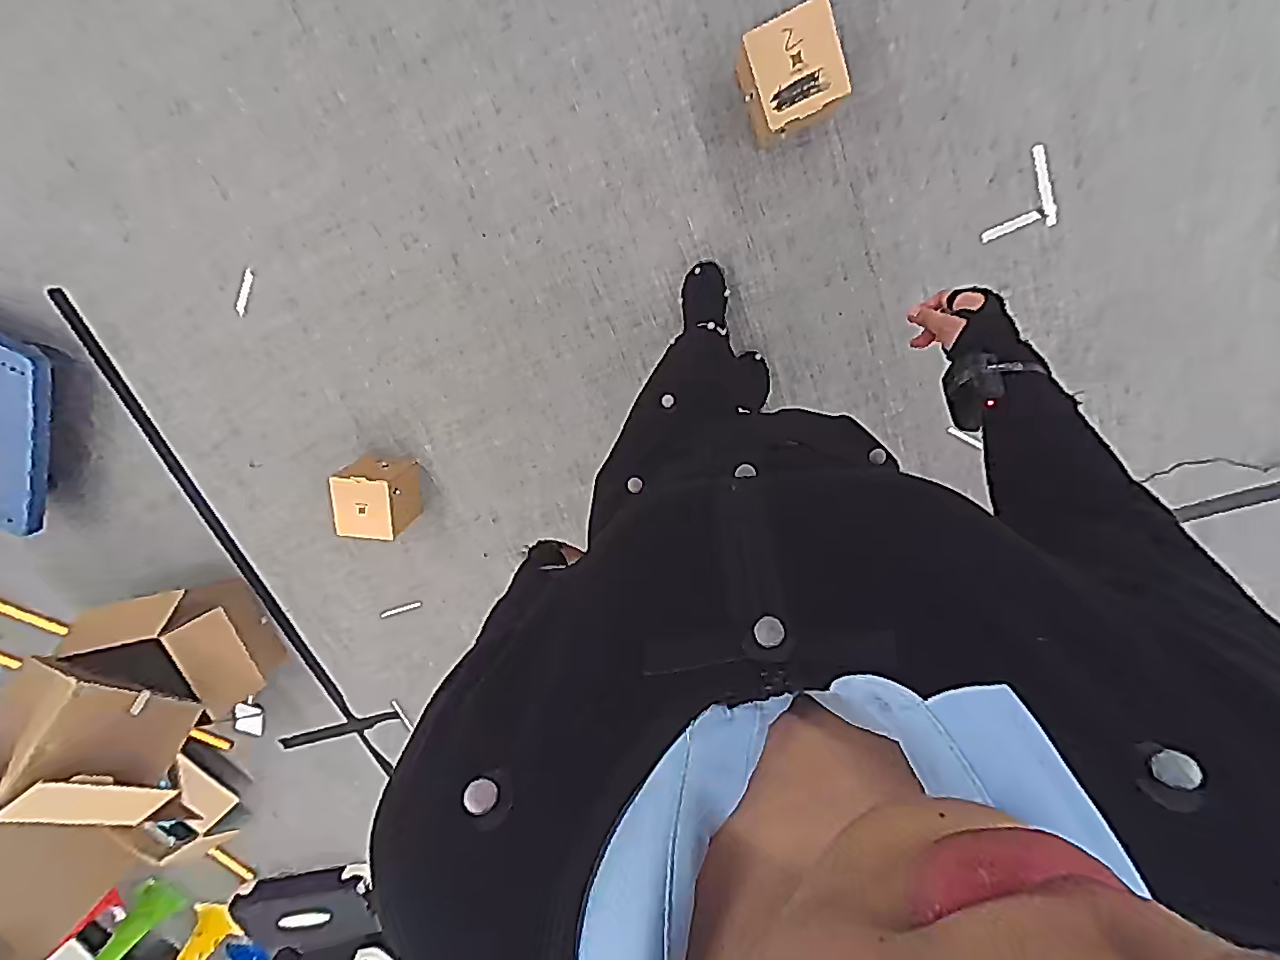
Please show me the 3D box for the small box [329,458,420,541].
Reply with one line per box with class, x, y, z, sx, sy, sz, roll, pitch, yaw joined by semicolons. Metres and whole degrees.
small box;-0.741;0.051;1.529;0.168;0.176;0.179;5;110;4
